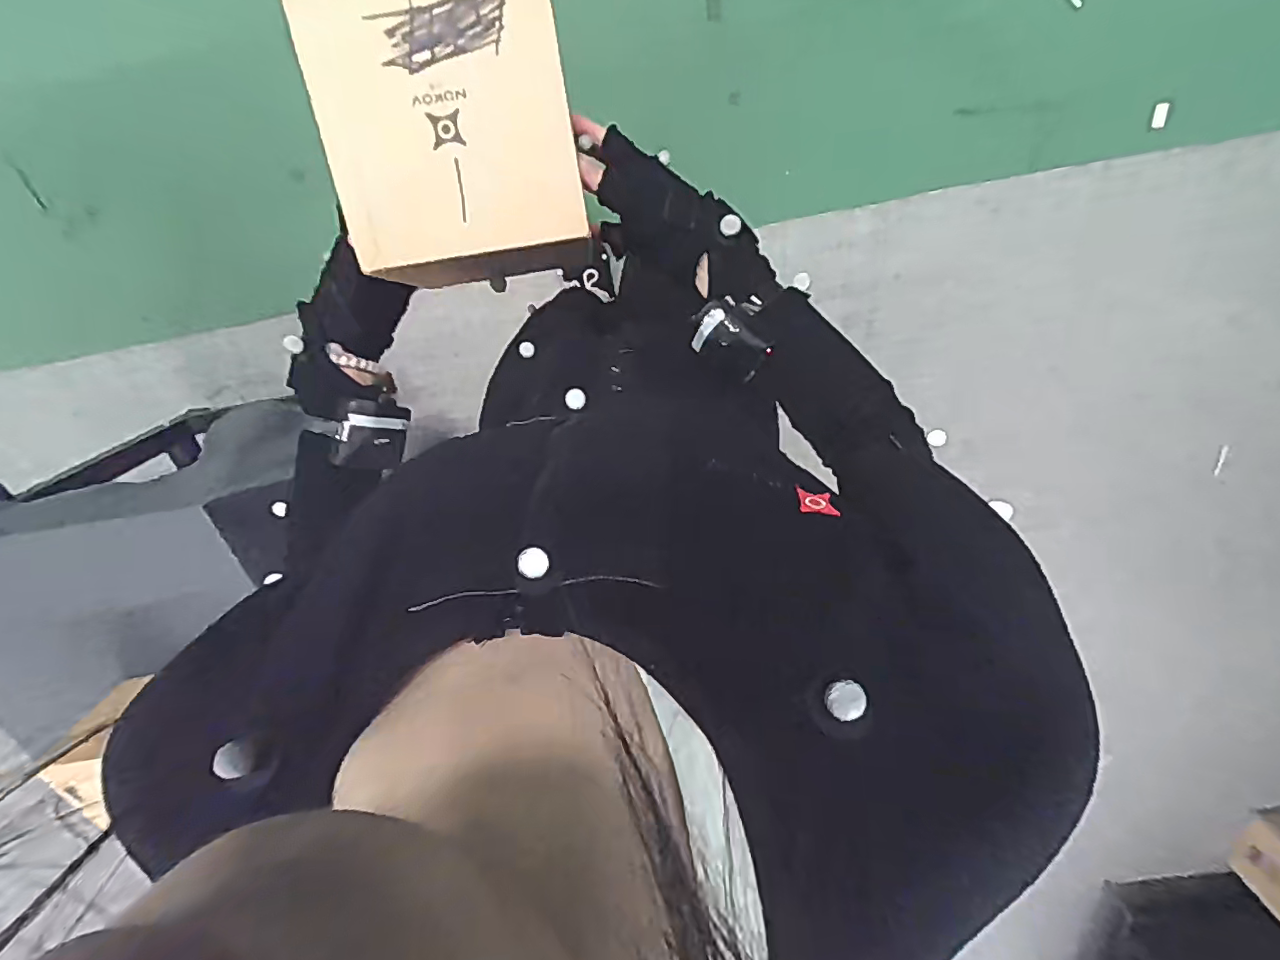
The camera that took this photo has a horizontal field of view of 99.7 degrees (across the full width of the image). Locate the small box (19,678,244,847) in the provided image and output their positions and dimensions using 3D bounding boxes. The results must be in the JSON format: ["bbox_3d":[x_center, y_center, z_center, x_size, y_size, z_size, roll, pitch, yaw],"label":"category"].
[{"bbox_3d":[-0.788,0.446,0.870,0.179,0.176,0.168,-12,117,3],"label":"small box"}]

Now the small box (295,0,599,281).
[{"bbox_3d":[-0.128,-0.263,0.422,0.168,0.176,0.179,-9,107,-3],"label":"small box"}]
